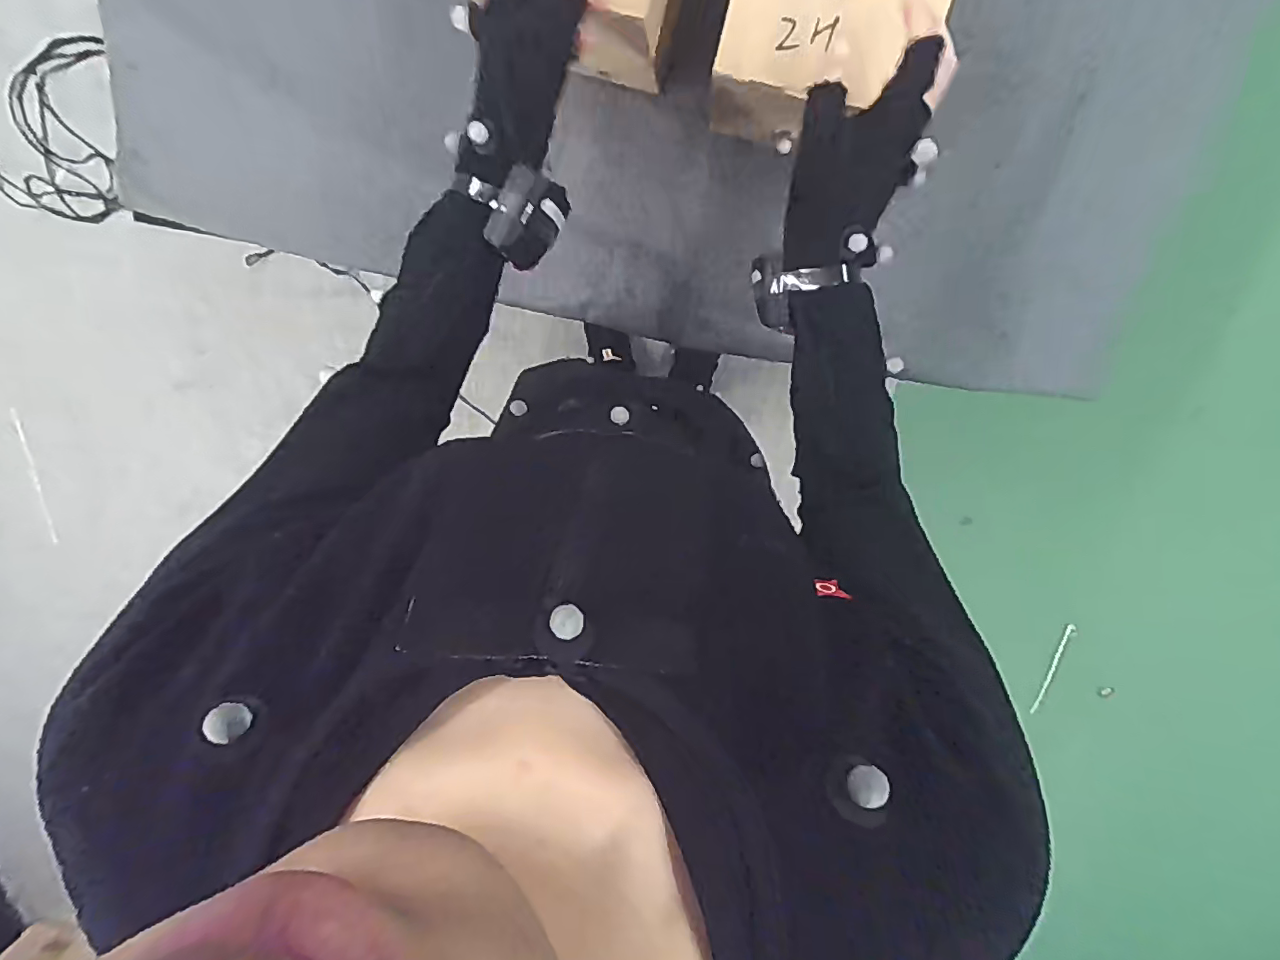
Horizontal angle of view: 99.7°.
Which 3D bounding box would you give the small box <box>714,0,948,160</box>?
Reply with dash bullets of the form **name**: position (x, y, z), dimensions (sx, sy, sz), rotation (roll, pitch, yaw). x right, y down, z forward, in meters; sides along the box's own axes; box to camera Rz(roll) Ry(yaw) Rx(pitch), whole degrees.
- **small box**: position (0.166, -0.419, 0.487), dimensions (0.168, 0.176, 0.179), rotation (15, 111, 1)
